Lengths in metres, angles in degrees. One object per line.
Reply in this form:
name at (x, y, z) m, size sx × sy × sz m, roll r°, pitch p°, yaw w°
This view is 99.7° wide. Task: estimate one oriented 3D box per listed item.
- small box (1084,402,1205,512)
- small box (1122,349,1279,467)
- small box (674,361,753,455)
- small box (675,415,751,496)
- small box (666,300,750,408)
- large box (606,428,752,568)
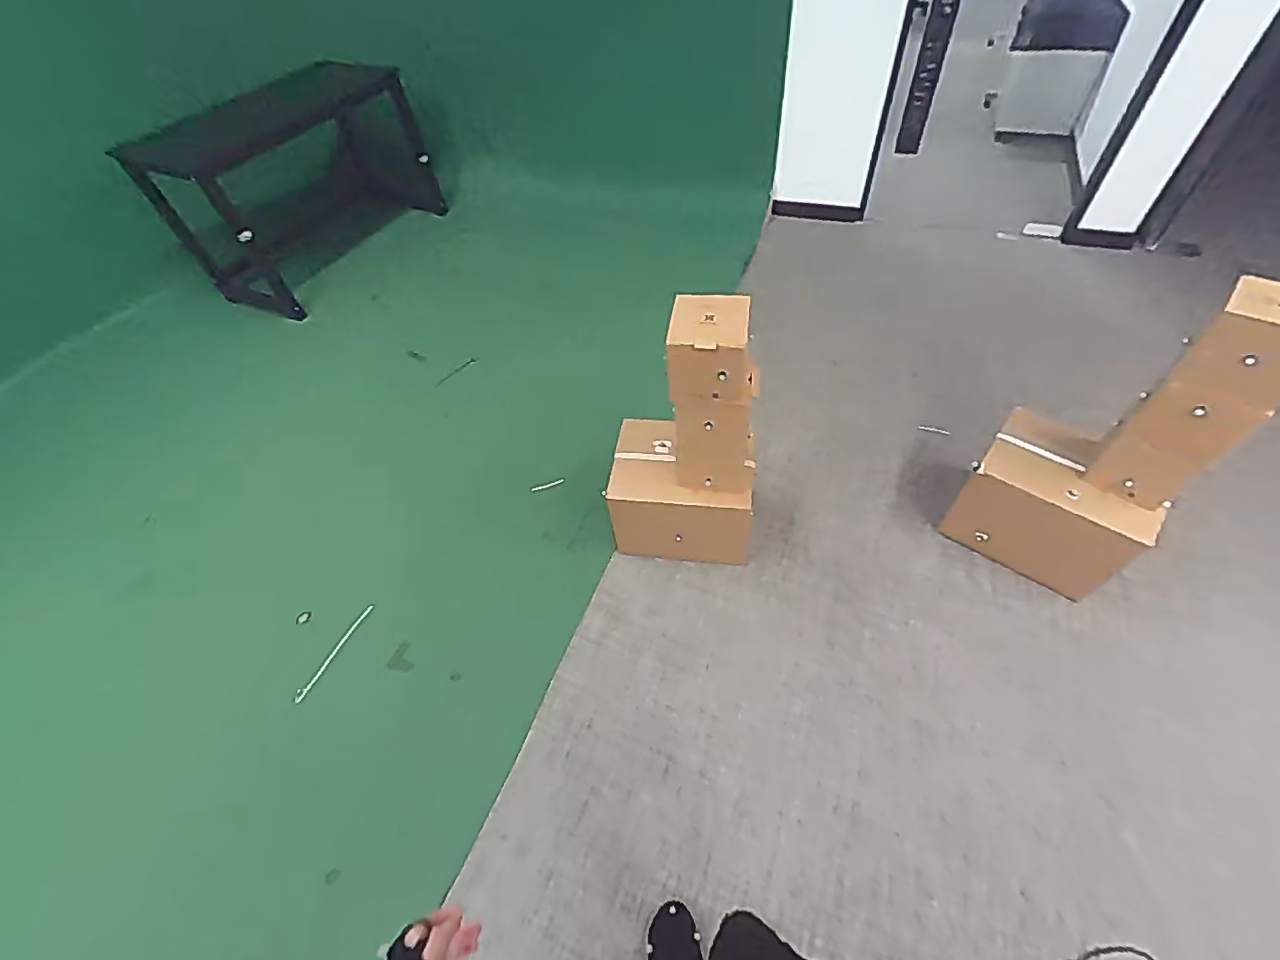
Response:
small box at (1.248, -0.056, 1.334) m, size 0.168 × 0.176 × 0.179 m, roll 32°, pitch 60°, yaw 28°
small box at (1.244, -0.155, 1.206) m, size 0.179 × 0.176 × 0.168 m, roll 34°, pitch 60°, yaw 29°
small box at (0.182, -0.176, 1.331) m, size 0.179 × 0.176 × 0.168 m, roll 3°, pitch 52°, yaw 10°
small box at (0.197, -0.075, 1.460) m, size 0.179 × 0.176 × 0.168 m, roll 7°, pitch 52°, yaw 12°
small box at (0.155, -0.279, 1.207) m, size 0.168 × 0.176 × 0.179 m, roll 5°, pitch 52°, yaw 10°
large box at (0.137, 0.058, 1.675) m, size 0.408 × 0.320 × 0.320 m, roll 3°, pitch 51°, yaw 10°
